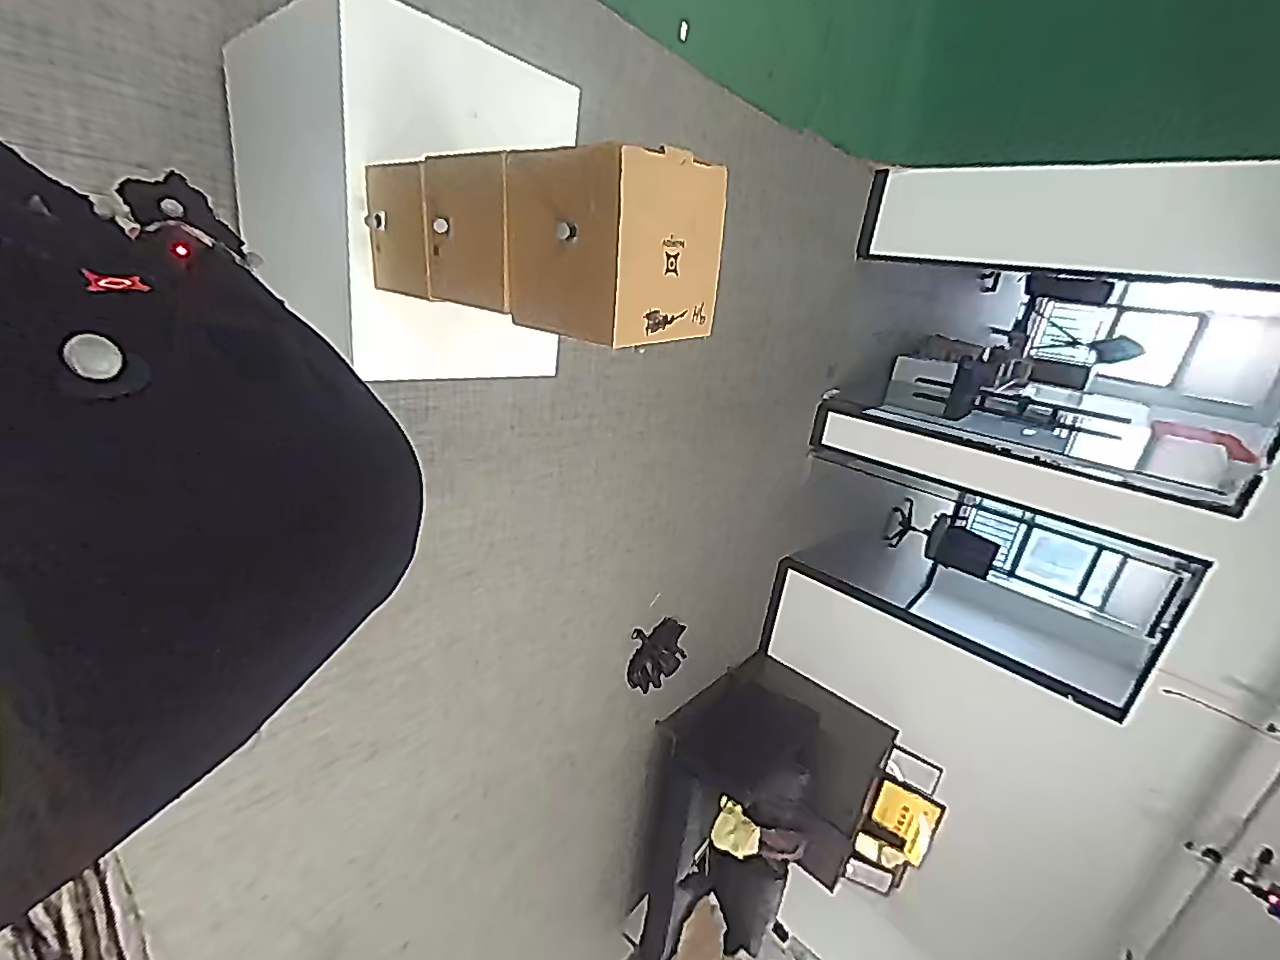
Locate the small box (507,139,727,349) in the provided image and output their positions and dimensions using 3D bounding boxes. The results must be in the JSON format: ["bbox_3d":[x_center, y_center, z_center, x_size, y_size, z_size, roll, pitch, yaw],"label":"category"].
[{"bbox_3d":[-0.029,-0.247,0.582,0.168,0.176,0.179,-21,123,-43],"label":"small box"}]

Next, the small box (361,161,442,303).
[{"bbox_3d":[-0.271,-0.350,0.777,0.179,0.176,0.168,-19,122,-43],"label":"small box"}]

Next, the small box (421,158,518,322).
[{"bbox_3d":[-0.147,-0.301,0.682,0.179,0.176,0.168,-23,126,-44],"label":"small box"}]
